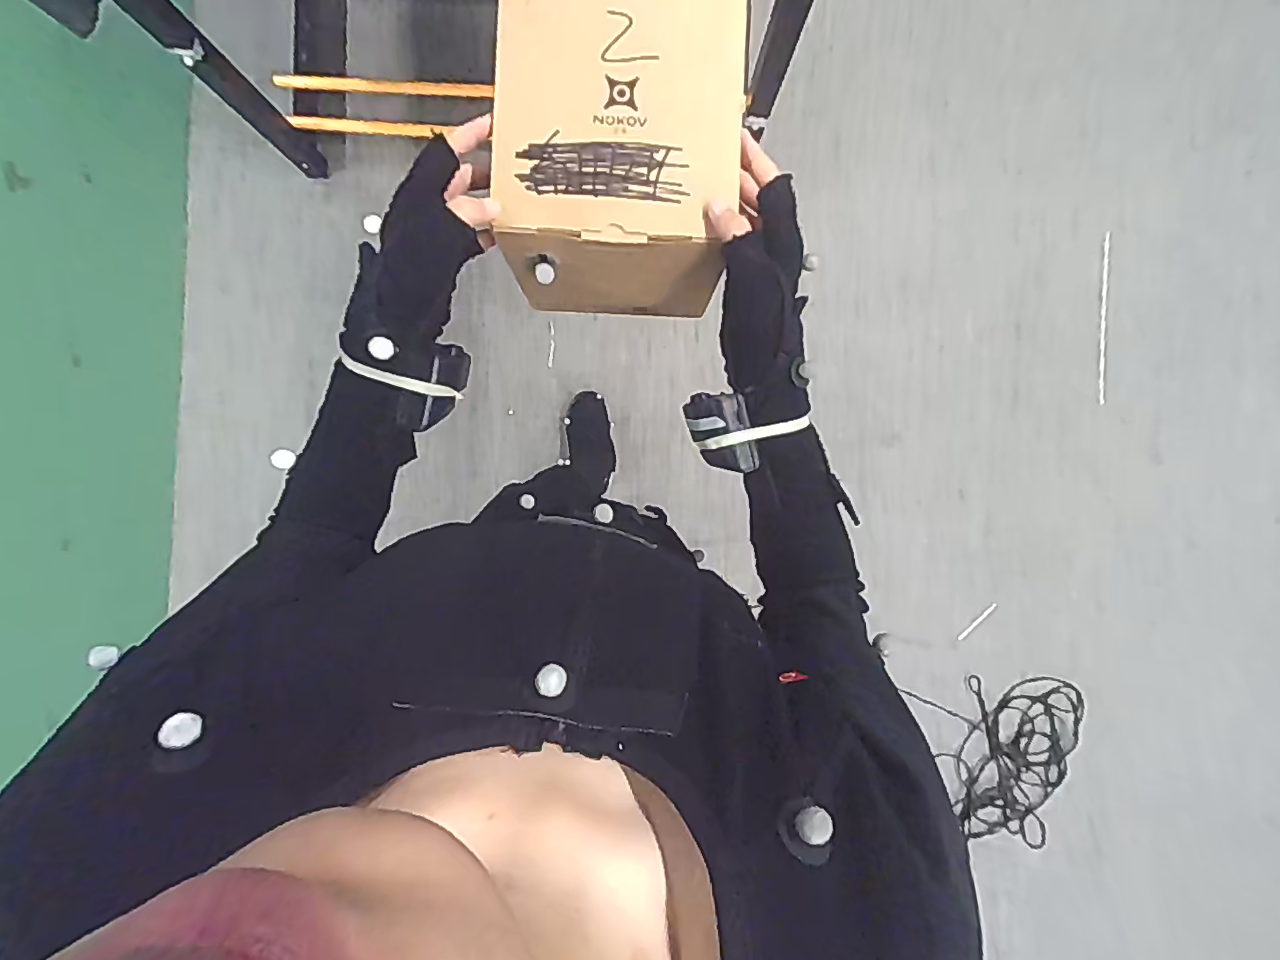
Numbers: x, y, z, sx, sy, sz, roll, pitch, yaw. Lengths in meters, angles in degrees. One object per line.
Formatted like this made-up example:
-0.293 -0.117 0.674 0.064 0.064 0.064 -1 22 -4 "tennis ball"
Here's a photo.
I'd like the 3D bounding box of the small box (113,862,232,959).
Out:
-1.192 1.131 1.389 0.168 0.176 0.179 4 90 -2 "small box"
